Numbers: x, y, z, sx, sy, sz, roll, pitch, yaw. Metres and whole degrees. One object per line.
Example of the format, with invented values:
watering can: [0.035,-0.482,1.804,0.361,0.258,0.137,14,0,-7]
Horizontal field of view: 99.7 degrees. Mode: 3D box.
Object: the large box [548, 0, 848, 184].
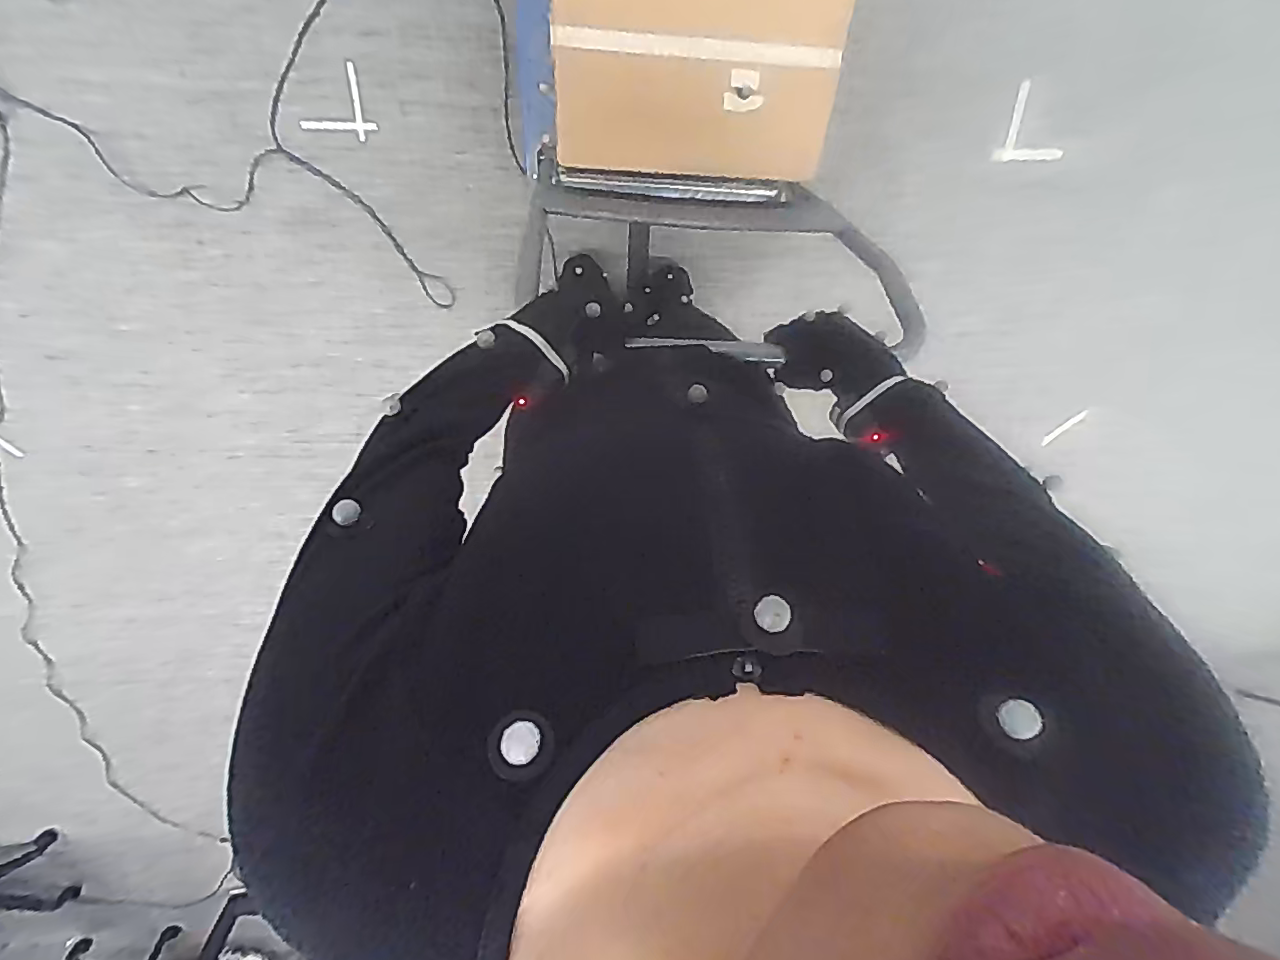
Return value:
large box: [0.062,-0.677,0.860,0.408,0.320,0.320,-1,129,-7]
